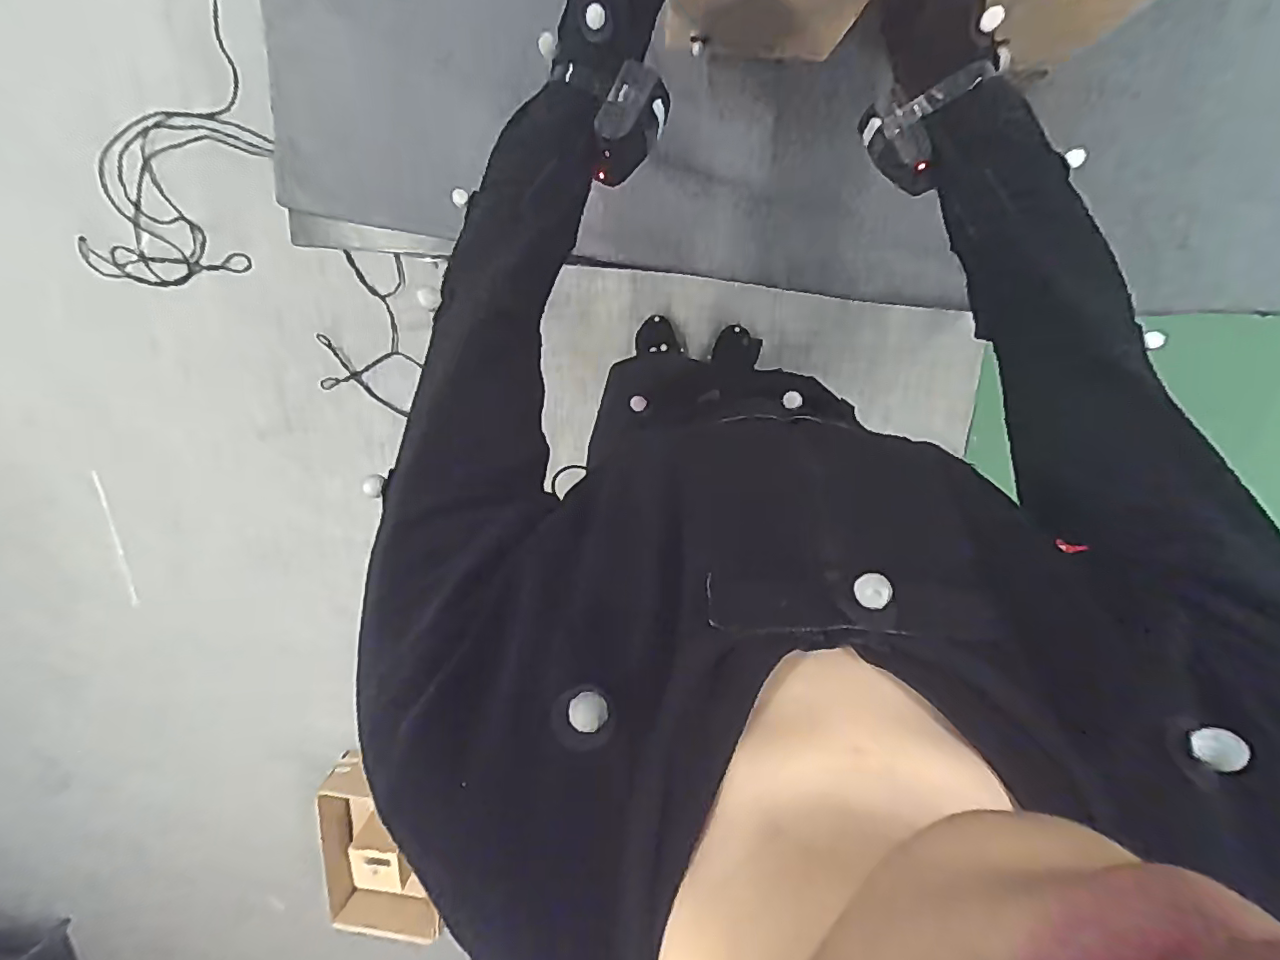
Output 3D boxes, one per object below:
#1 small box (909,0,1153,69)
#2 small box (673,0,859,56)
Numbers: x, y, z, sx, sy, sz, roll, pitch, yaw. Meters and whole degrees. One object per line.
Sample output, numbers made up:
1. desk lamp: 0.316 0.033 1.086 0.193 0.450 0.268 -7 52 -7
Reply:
1. small box: 0.361 -0.504 0.477 0.168 0.176 0.179 5 107 5
2. small box: 0.116 -0.493 0.453 0.168 0.176 0.179 4 108 1
